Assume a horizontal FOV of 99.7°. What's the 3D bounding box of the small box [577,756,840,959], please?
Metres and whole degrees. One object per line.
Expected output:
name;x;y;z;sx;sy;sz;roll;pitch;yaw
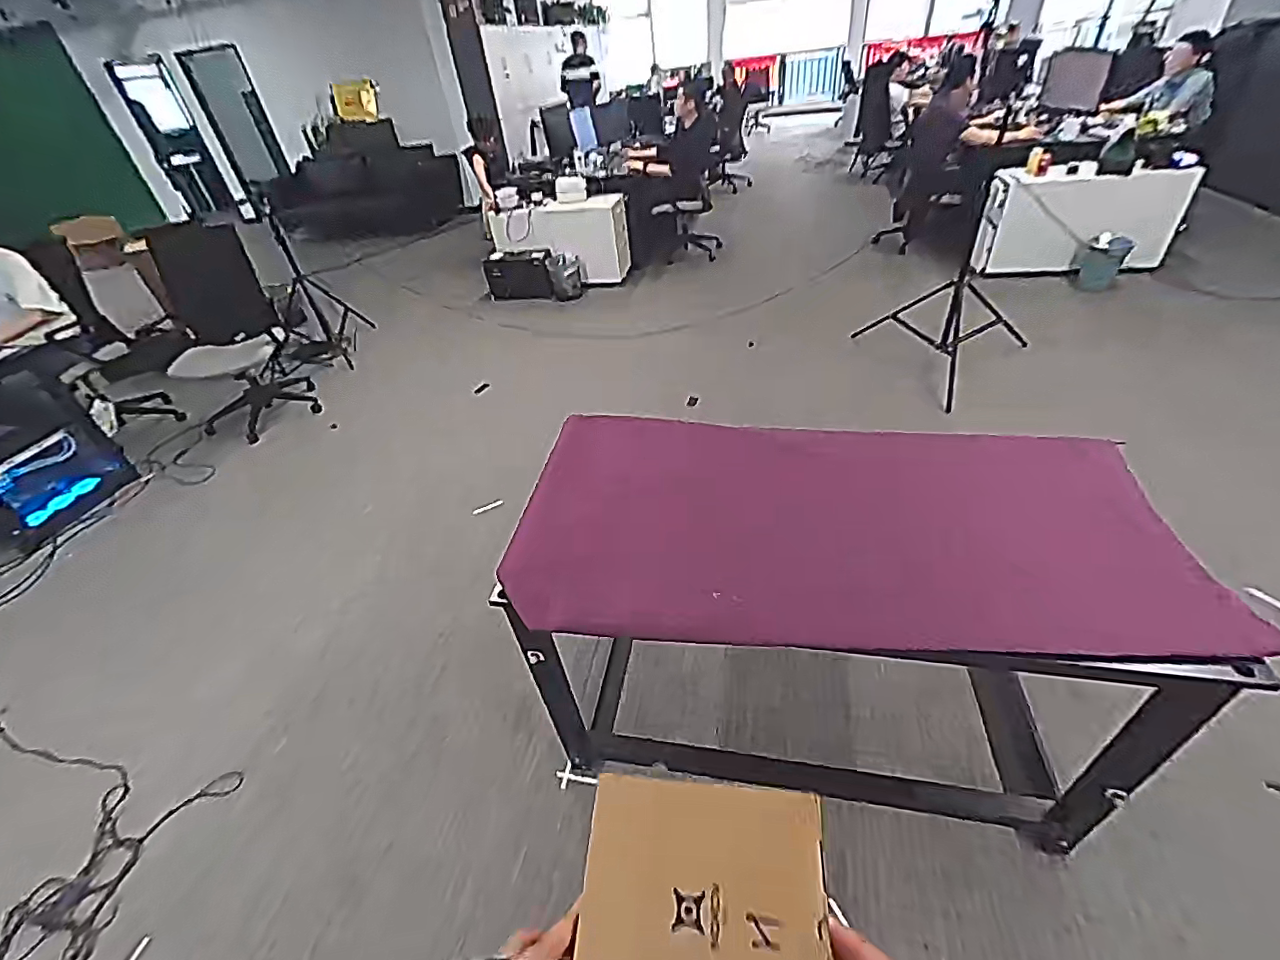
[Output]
small box;0.059;0.337;0.440;0.179;0.176;0.168;0;54;10
